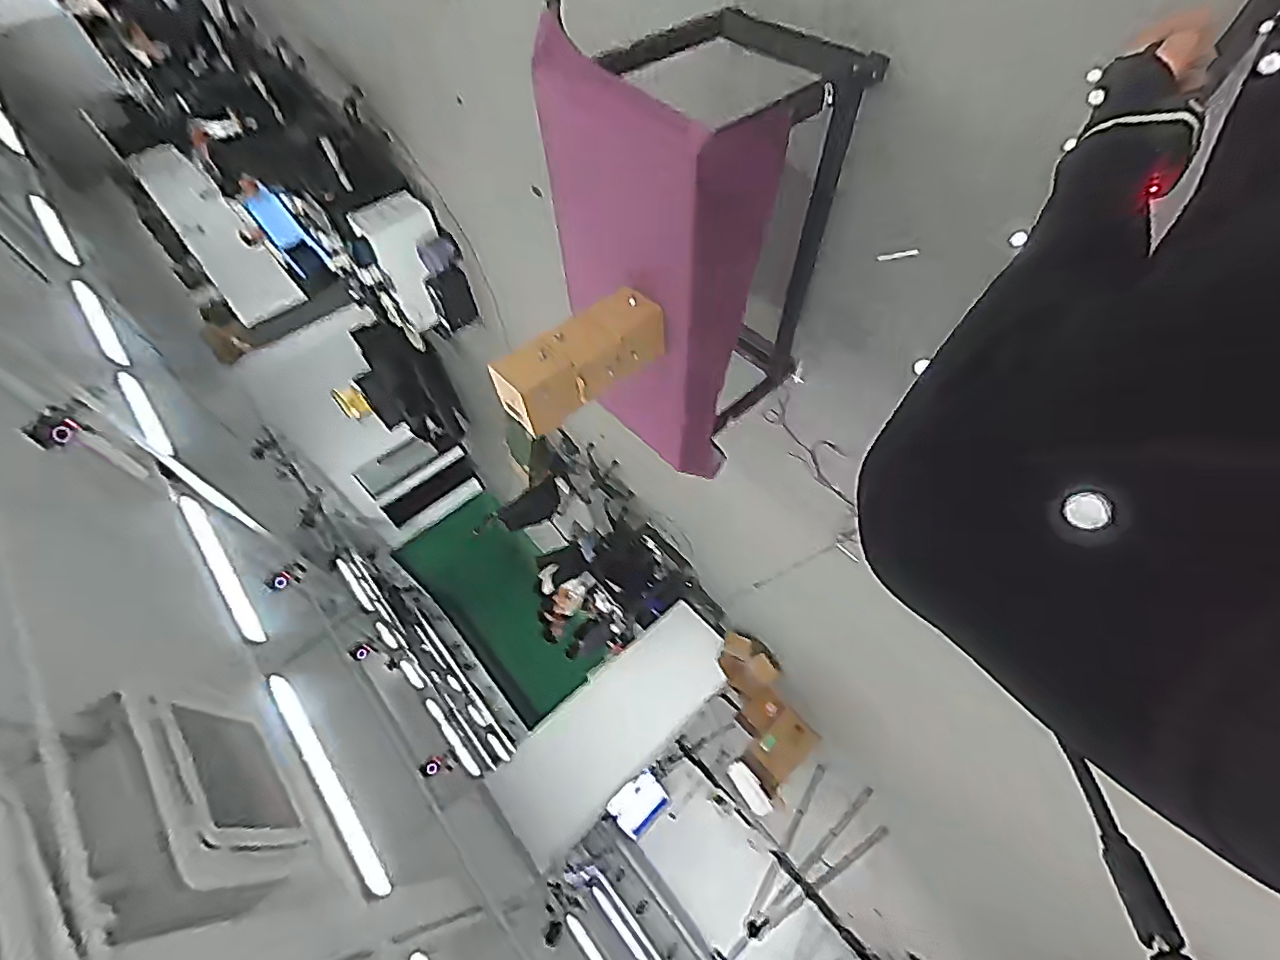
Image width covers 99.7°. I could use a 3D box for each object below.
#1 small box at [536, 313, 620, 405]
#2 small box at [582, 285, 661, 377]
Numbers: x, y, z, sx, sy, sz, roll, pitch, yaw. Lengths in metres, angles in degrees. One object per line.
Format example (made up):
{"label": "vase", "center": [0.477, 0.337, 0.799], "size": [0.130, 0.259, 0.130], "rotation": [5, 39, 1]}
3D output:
{"label": "small box", "center": [-0.174, -0.359, 1.574], "size": [0.179, 0.176, 0.168], "rotation": [44, 158, 23]}
{"label": "small box", "center": [-0.049, -0.451, 1.629], "size": [0.168, 0.176, 0.179], "rotation": [41, 156, 28]}
